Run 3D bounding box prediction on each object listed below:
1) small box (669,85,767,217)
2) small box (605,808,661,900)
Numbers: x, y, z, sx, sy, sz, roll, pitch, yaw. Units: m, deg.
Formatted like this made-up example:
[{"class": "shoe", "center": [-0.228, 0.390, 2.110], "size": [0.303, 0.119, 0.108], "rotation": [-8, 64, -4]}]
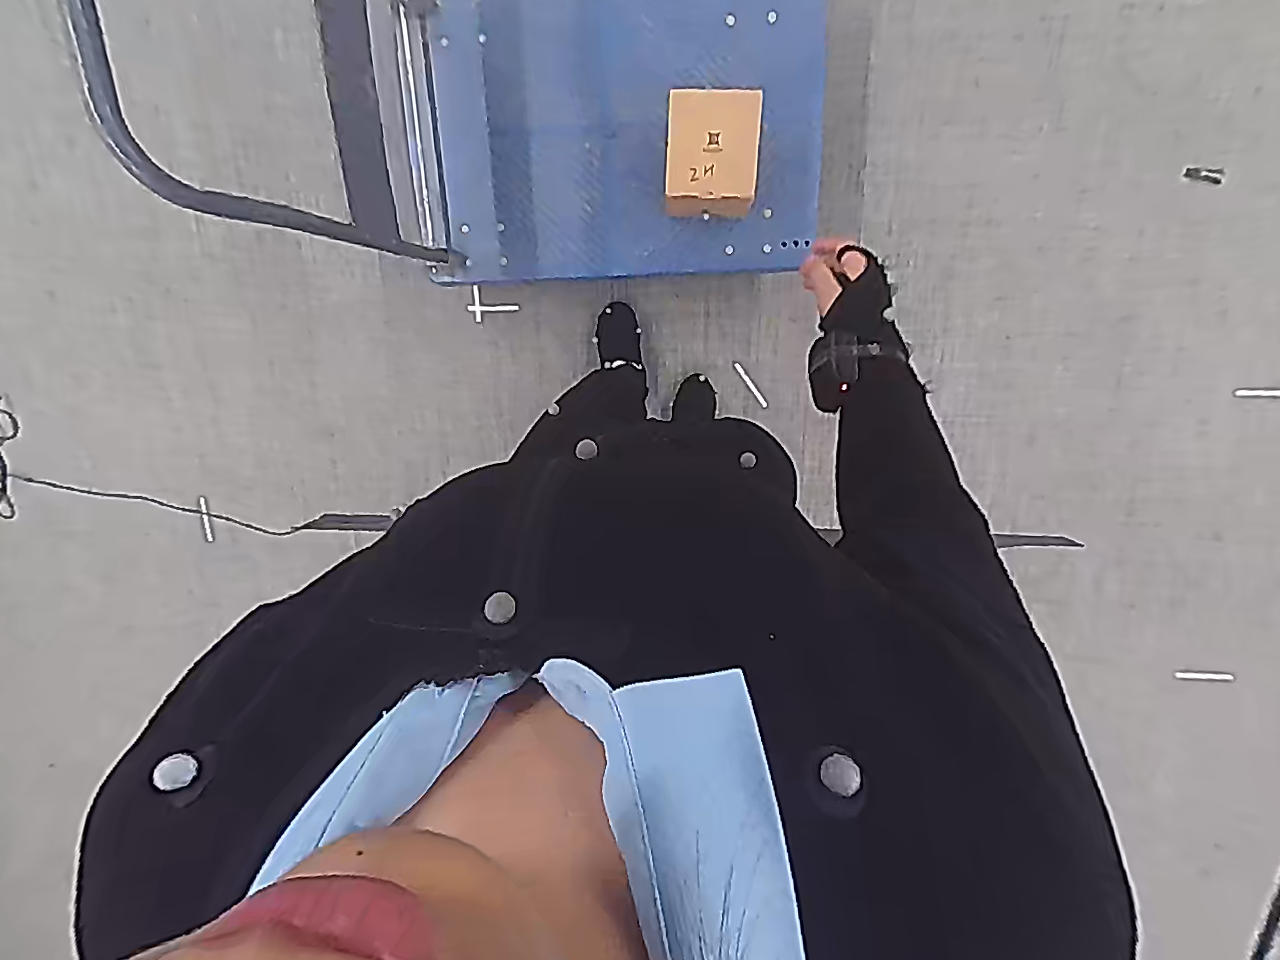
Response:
[{"class": "small box", "center": [0.143, -0.626, 1.045], "size": [0.168, 0.176, 0.179], "rotation": [3, 105, 4]}, {"class": "small box", "center": [-0.017, 1.188, 1.721], "size": [0.168, 0.176, 0.179], "rotation": [-1, 104, 4]}]
